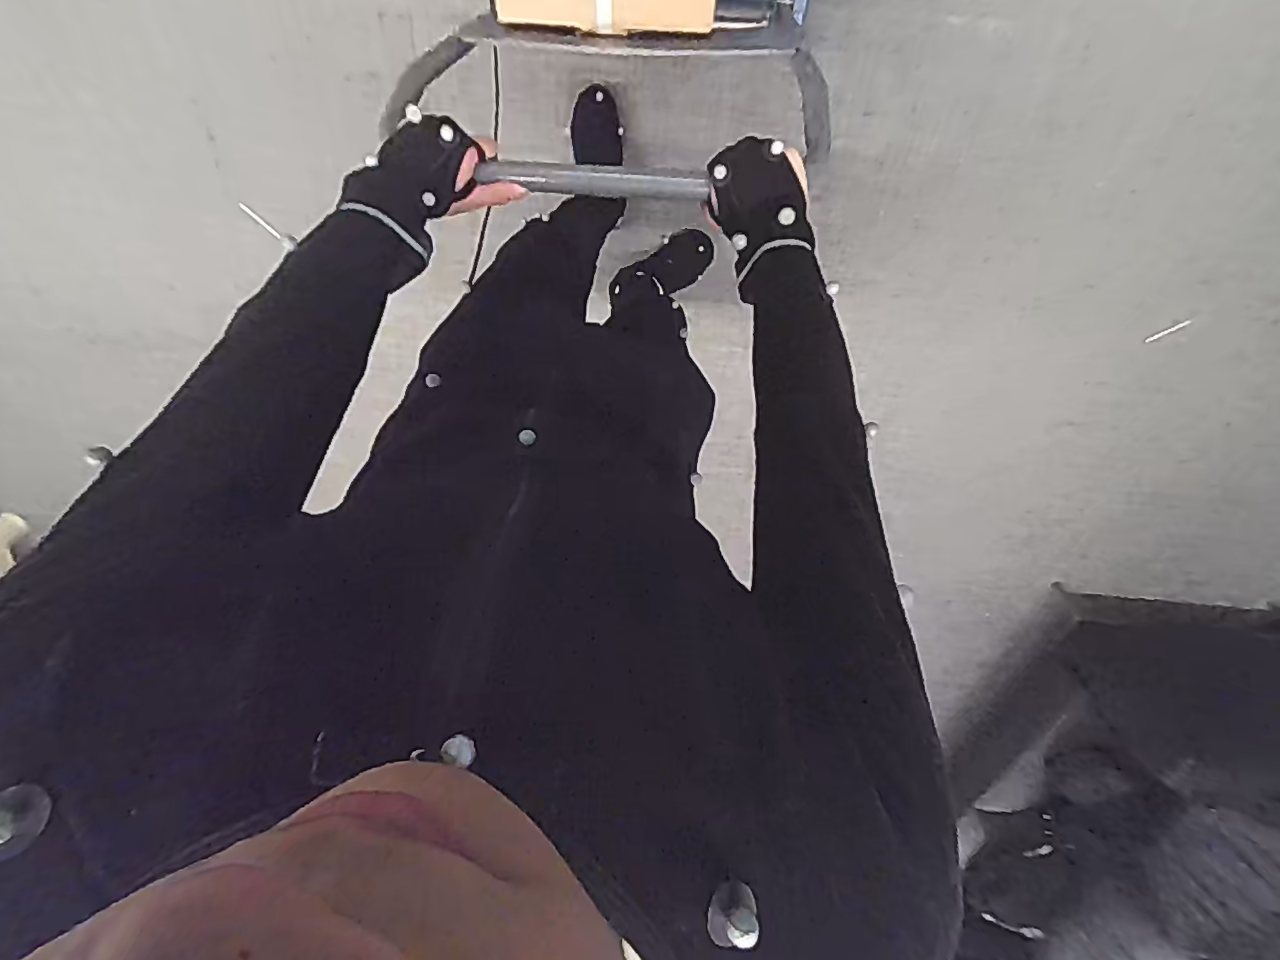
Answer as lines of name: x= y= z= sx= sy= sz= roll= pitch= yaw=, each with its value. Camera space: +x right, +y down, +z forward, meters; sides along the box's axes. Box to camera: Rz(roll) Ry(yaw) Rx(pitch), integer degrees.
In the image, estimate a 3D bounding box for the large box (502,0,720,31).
large box: x=-0.024 y=-0.898 z=0.749 sx=0.320 sy=0.320 sz=0.408 roll=5 pitch=135 yaw=2
